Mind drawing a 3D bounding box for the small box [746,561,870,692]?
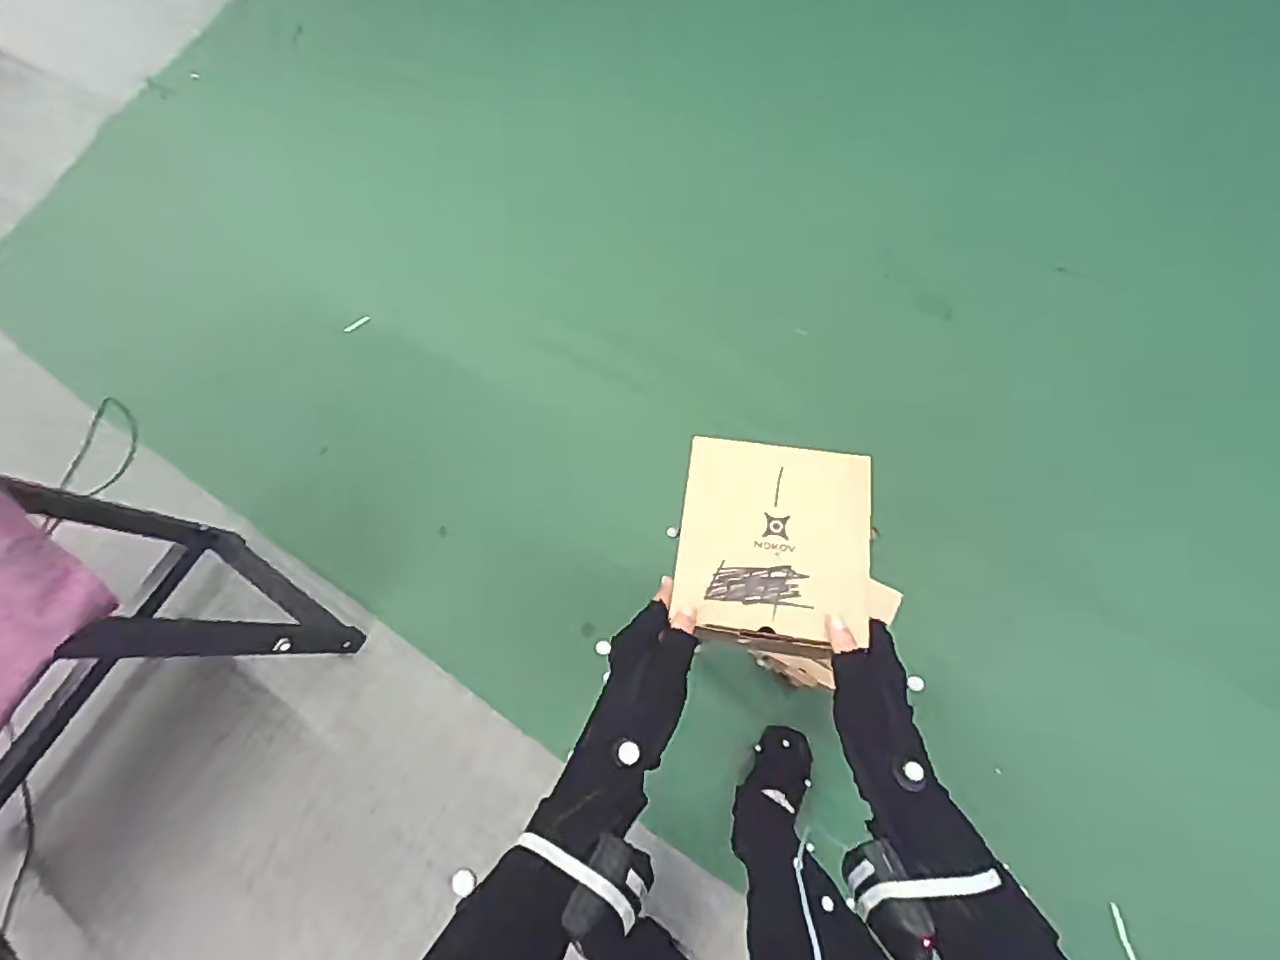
[{"bbox_3d":[0.309,0.279,1.036,0.168,0.176,0.179,26,80,16],"label":"small box"}]
